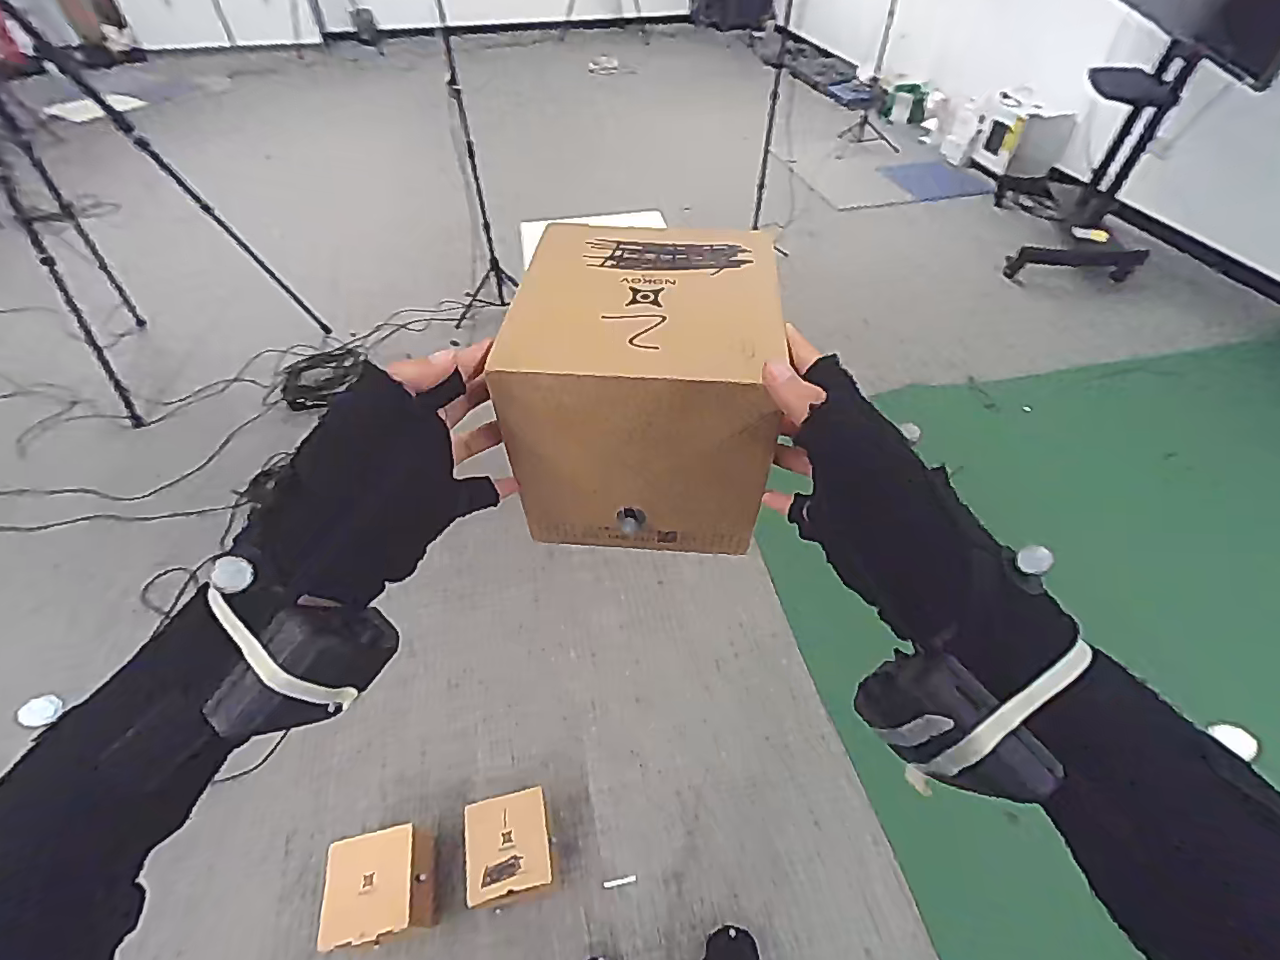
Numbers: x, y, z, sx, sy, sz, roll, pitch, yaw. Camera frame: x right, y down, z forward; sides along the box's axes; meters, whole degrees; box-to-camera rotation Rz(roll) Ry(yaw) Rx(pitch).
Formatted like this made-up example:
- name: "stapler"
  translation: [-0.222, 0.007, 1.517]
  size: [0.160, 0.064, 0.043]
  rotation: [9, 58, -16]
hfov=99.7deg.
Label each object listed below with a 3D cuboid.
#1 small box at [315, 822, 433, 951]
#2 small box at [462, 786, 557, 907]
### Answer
- name: "small box"
  translation: [-0.535, 0.840, 1.115]
  size: [0.168, 0.176, 0.179]
  rotation: [-10, 50, -8]
- name: "small box"
  translation: [-0.277, 0.788, 1.157]
  size: [0.168, 0.176, 0.179]
  rotation: [-11, 49, -9]
